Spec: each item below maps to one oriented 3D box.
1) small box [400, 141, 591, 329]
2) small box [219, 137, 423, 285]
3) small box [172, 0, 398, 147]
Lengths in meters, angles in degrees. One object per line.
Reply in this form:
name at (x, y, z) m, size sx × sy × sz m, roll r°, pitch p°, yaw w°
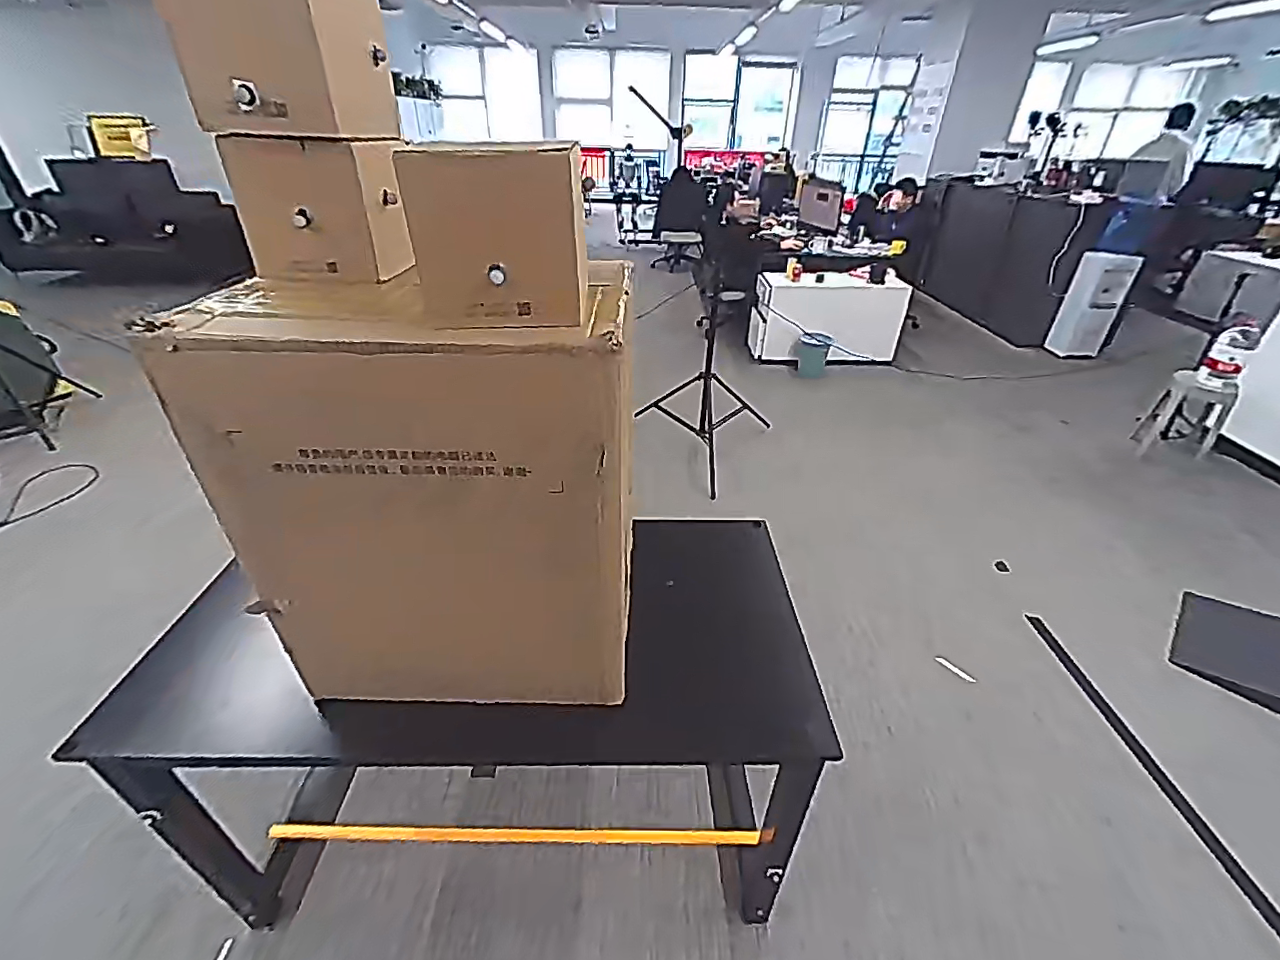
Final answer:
small box at (-0.144, -0.280, 0.612) m, size 0.168 × 0.176 × 0.179 m, roll -2°, pitch 35°, yaw -2°
small box at (-0.419, -0.376, 0.751) m, size 0.168 × 0.176 × 0.179 m, roll 2°, pitch 33°, yaw -1°
small box at (-0.412, -0.505, 0.650) m, size 0.168 × 0.176 × 0.179 m, roll 2°, pitch 33°, yaw 1°
